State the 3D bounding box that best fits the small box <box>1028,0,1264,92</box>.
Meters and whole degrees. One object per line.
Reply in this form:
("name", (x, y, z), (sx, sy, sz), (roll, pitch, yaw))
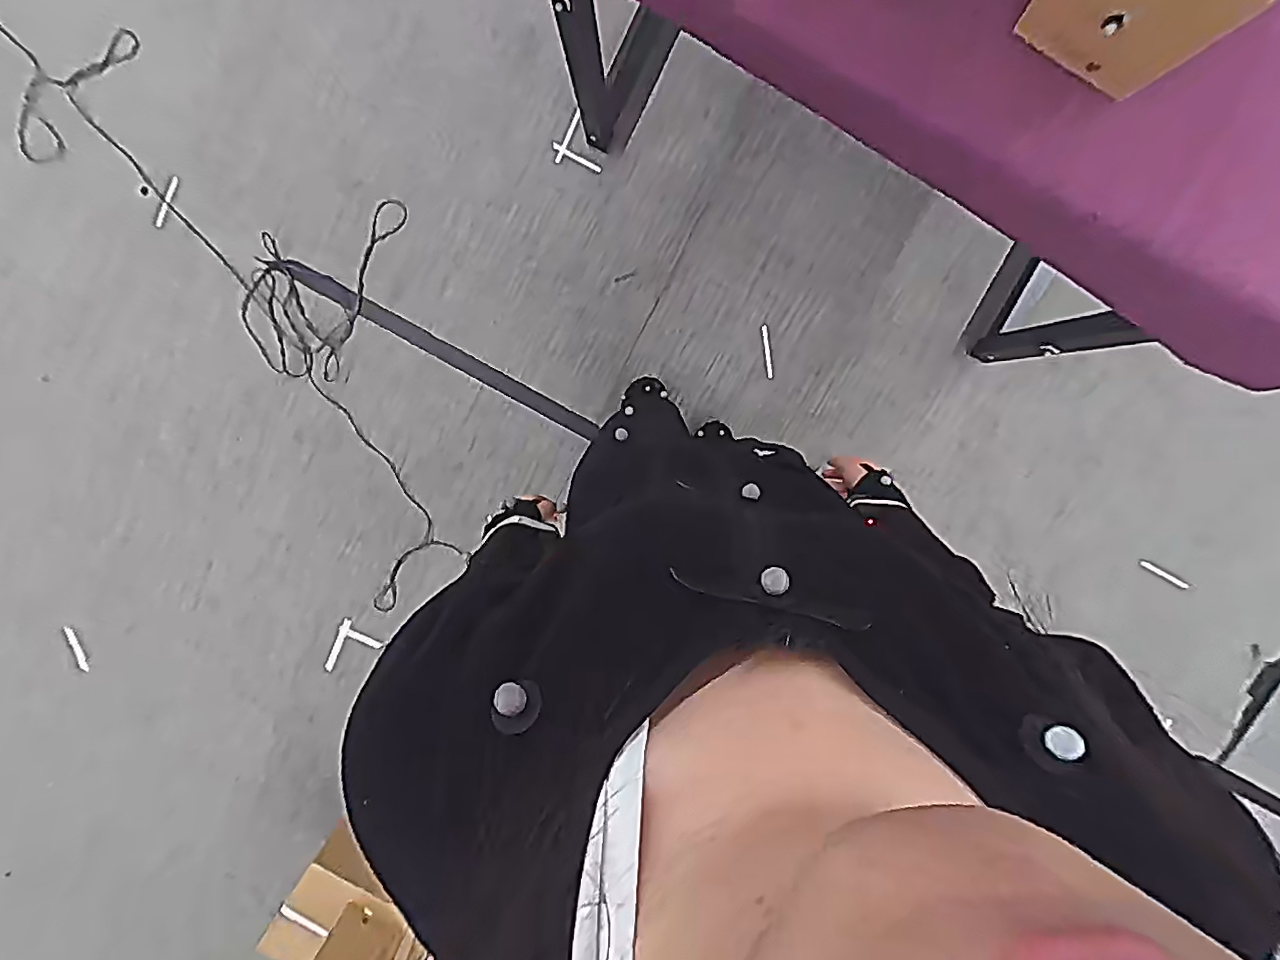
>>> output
("small box", (0.573, -0.579, 0.584), (0.168, 0.176, 0.179), (31, 97, -4))
